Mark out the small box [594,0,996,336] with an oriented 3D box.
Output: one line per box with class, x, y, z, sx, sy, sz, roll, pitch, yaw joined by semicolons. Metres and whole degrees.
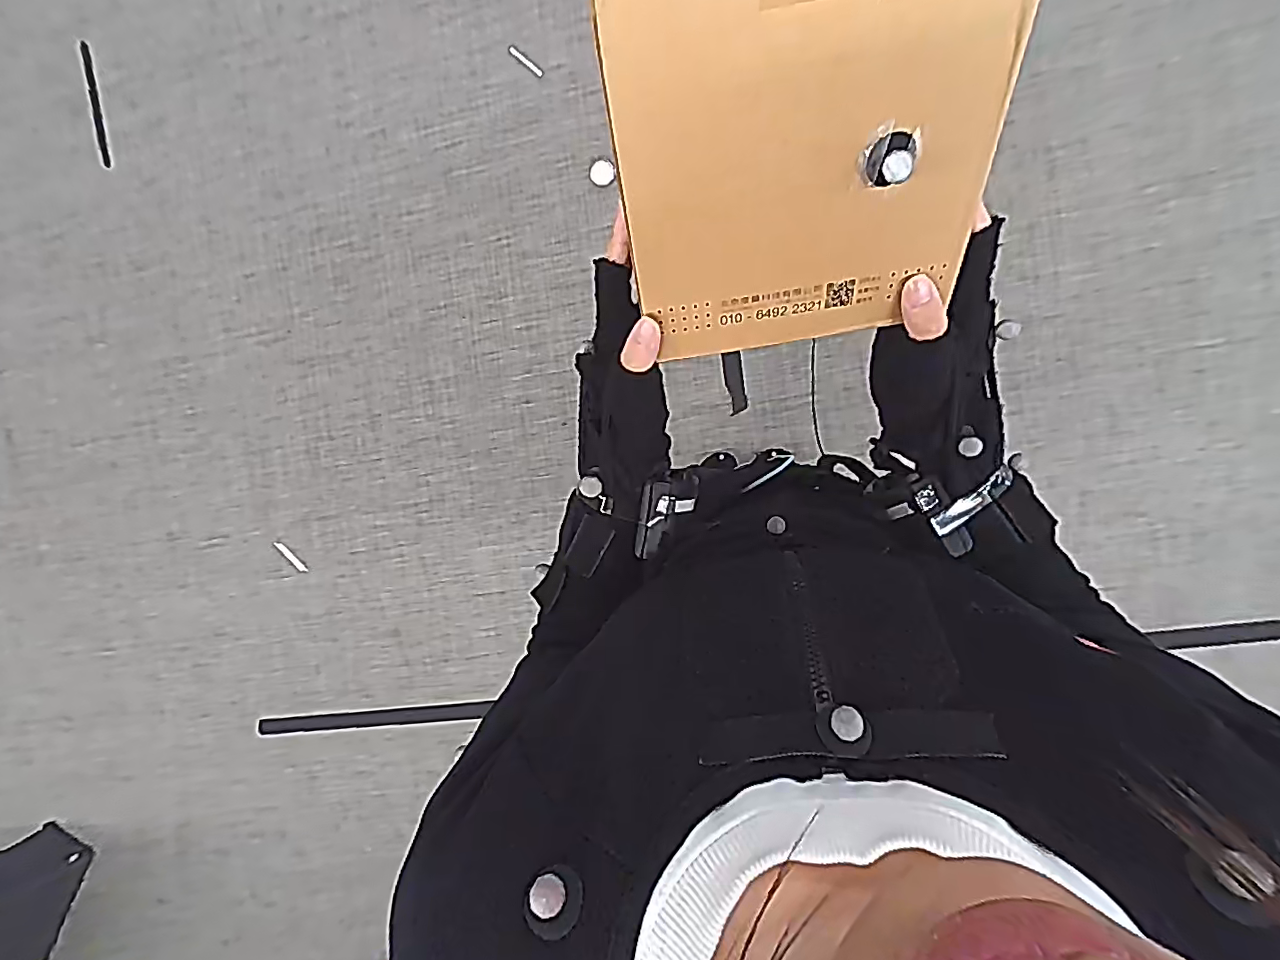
small box;0.072;-0.199;0.317;0.168;0.176;0.179;-7;47;5
